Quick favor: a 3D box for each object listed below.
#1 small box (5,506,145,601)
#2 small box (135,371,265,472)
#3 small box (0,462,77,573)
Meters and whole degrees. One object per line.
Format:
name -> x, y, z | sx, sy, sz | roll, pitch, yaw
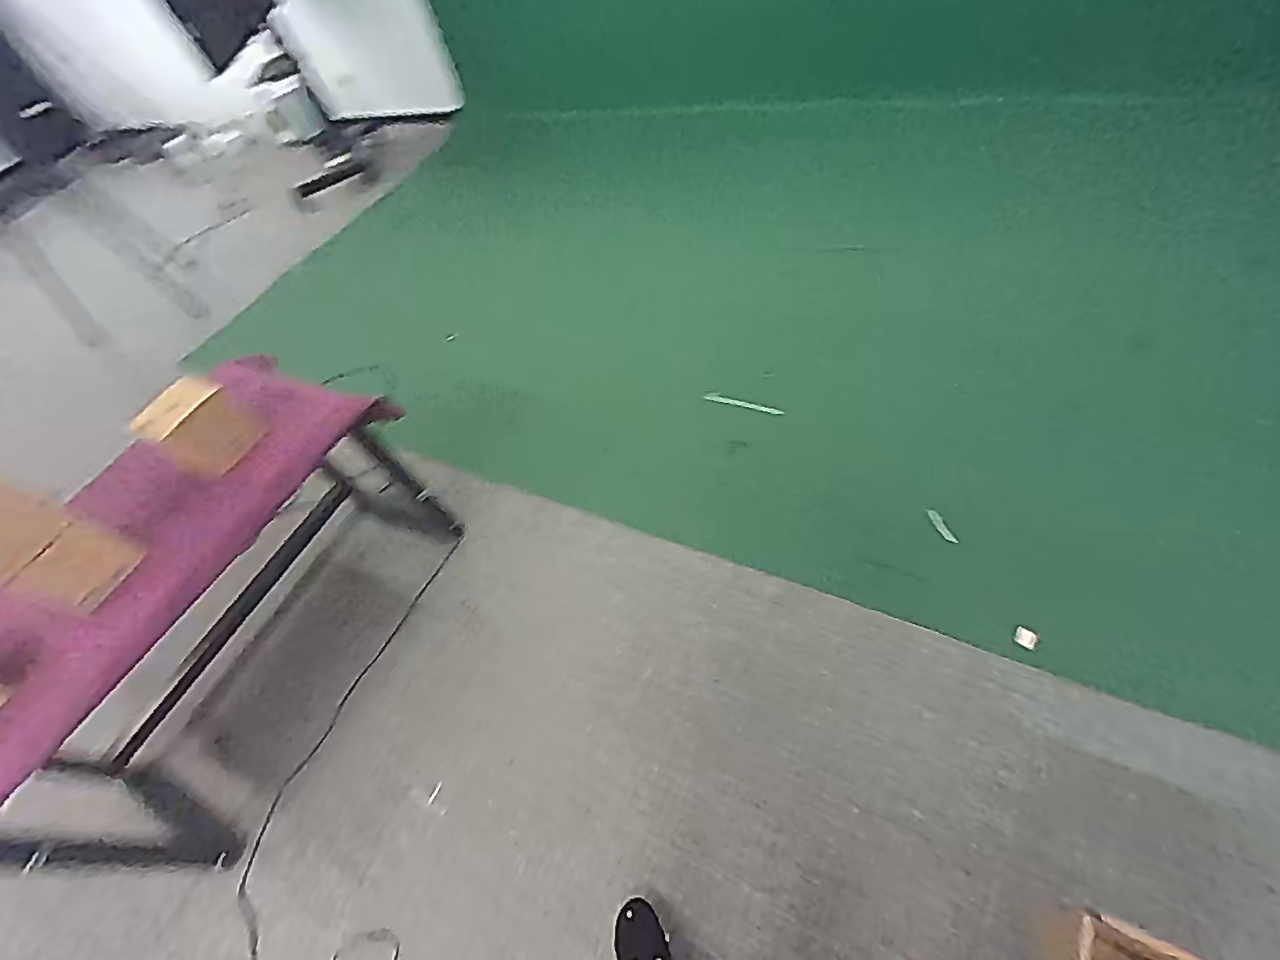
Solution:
small box -> -1.292, 0.154, 1.221 | 0.179, 0.176, 0.168 | 15, 60, 25
small box -> -1.119, -0.150, 1.396 | 0.168, 0.176, 0.179 | 16, 60, 25
small box -> -1.322, 0.061, 1.090 | 0.168, 0.176, 0.179 | 16, 60, 23
